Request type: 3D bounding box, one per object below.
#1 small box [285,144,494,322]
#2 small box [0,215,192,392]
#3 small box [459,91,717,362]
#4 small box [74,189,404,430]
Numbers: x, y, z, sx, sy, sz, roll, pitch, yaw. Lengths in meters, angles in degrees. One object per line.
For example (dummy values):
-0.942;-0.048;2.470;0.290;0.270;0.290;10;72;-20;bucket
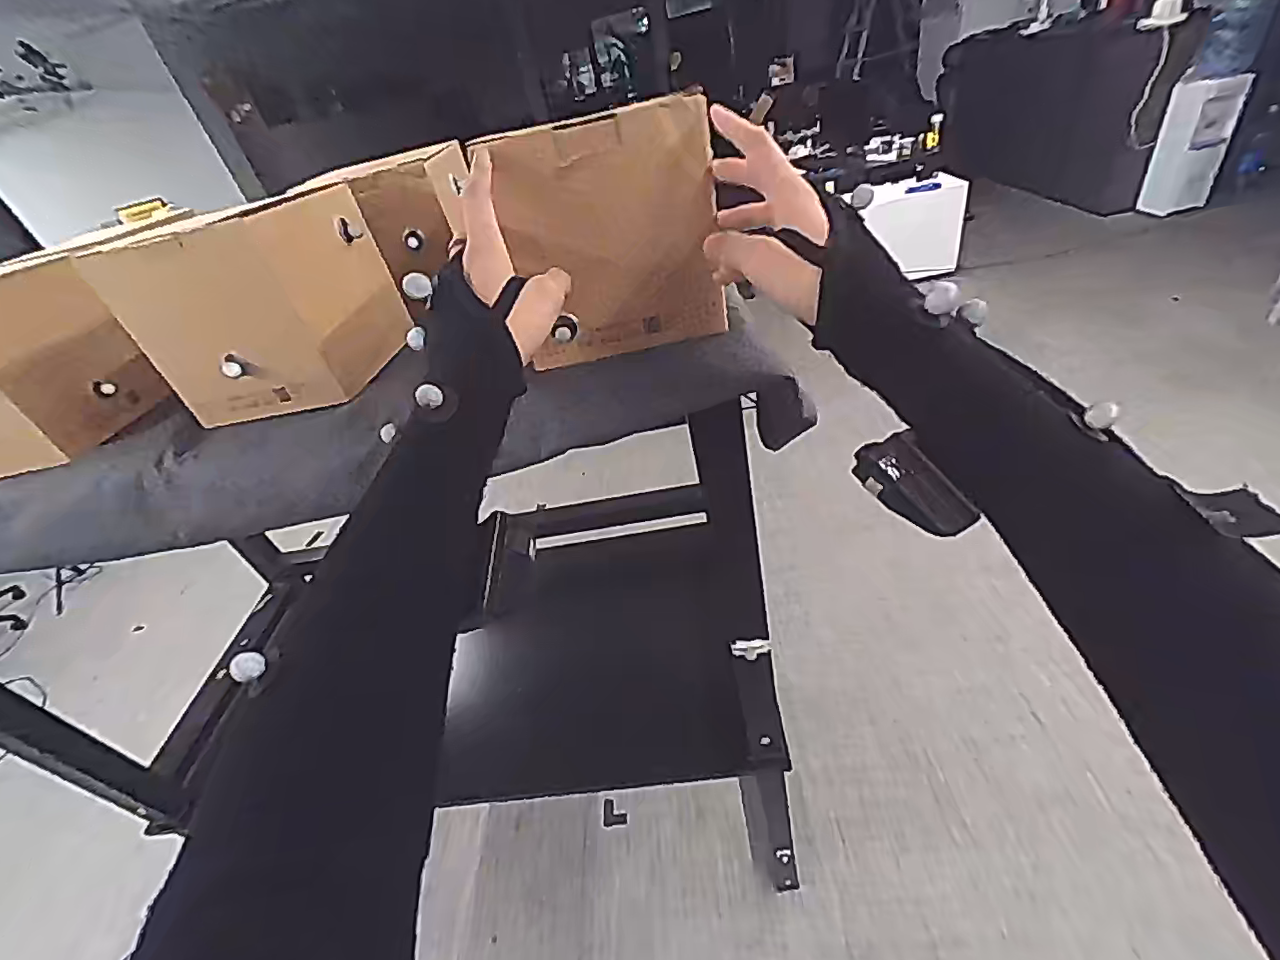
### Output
-0.306;-0.316;0.709;0.168;0.176;0.179;-10;38;4;small box
-0.698;-0.245;0.757;0.179;0.176;0.168;-10;38;7;small box
-0.034;-0.216;0.476;0.168;0.176;0.179;-12;32;3;small box
-0.369;-0.172;0.545;0.168;0.176;0.179;-9;37;9;small box
